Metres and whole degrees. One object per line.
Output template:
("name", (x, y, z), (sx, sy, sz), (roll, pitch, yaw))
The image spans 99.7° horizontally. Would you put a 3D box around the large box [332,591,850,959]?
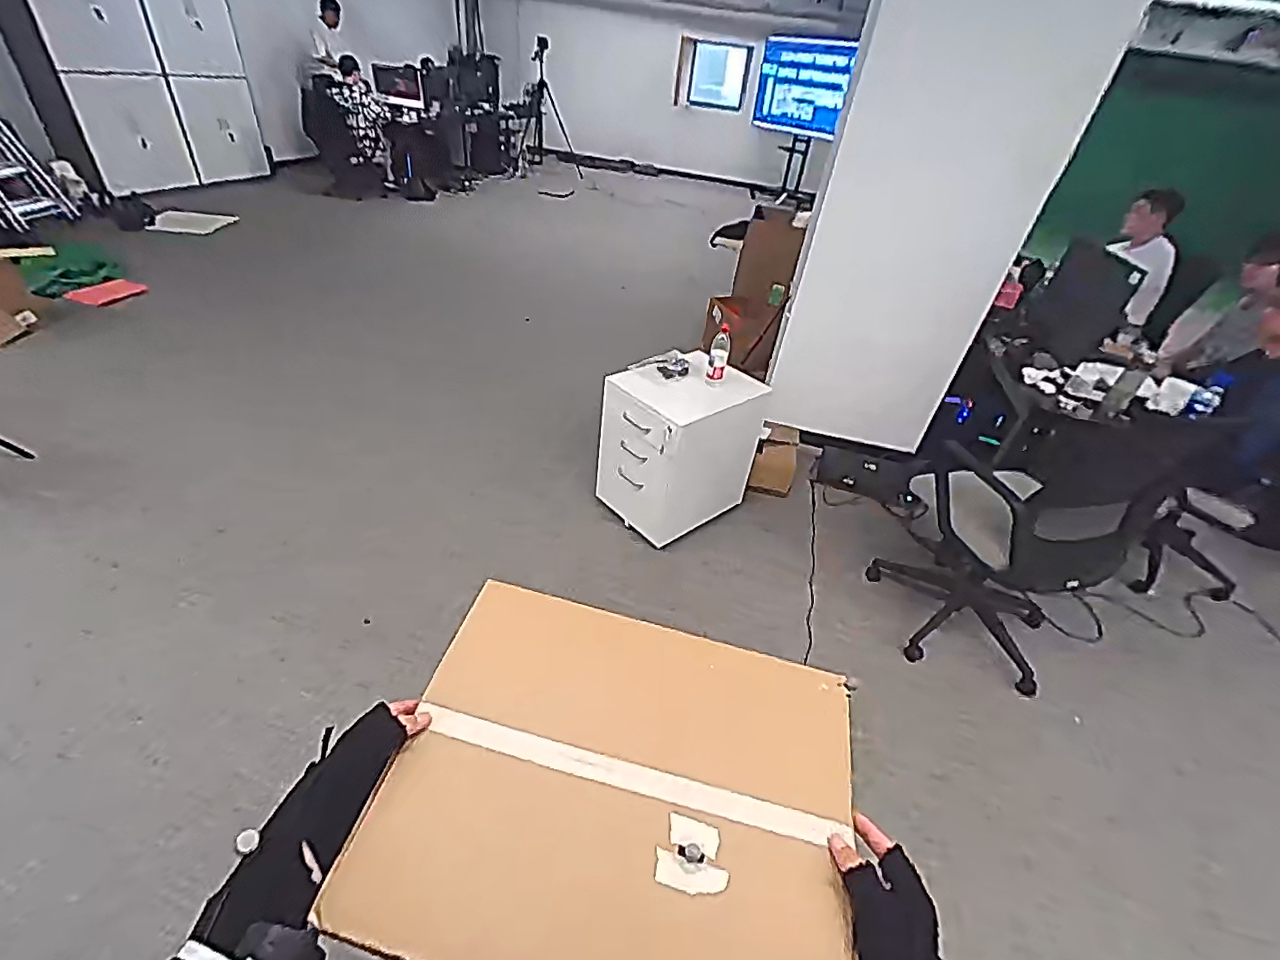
("large box", (-0.030, 0.376, 0.598), (0.408, 0.320, 0.320), (15, 45, 4))
